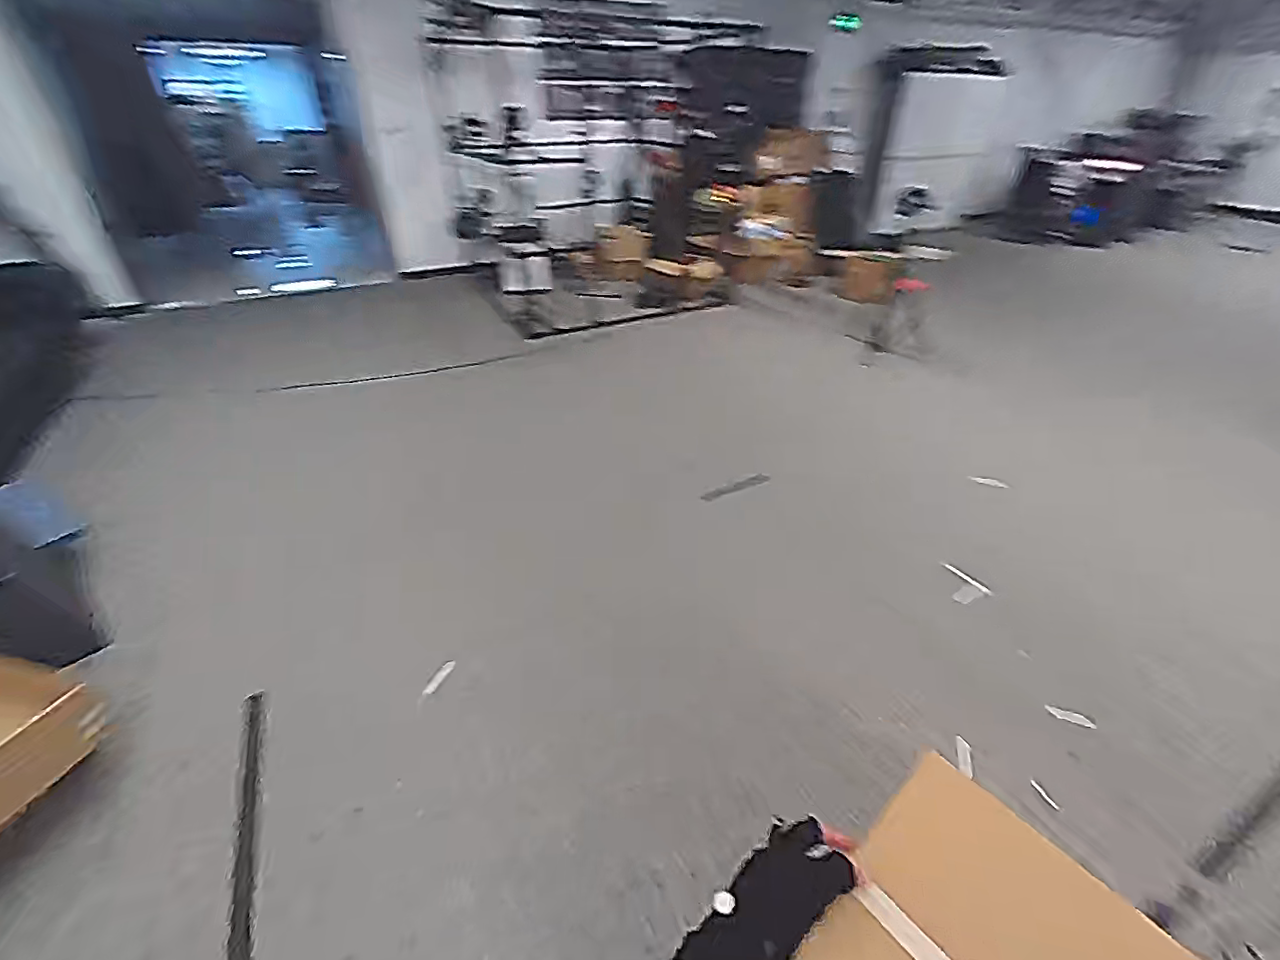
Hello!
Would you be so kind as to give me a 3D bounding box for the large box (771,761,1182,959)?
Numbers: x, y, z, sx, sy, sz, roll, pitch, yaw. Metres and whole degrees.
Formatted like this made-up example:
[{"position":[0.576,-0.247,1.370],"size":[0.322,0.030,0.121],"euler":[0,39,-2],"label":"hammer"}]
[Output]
[{"position":[0.321,0.563,0.481],"size":[0.320,0.320,0.408],"euler":[-33,50,-27],"label":"large box"}]
